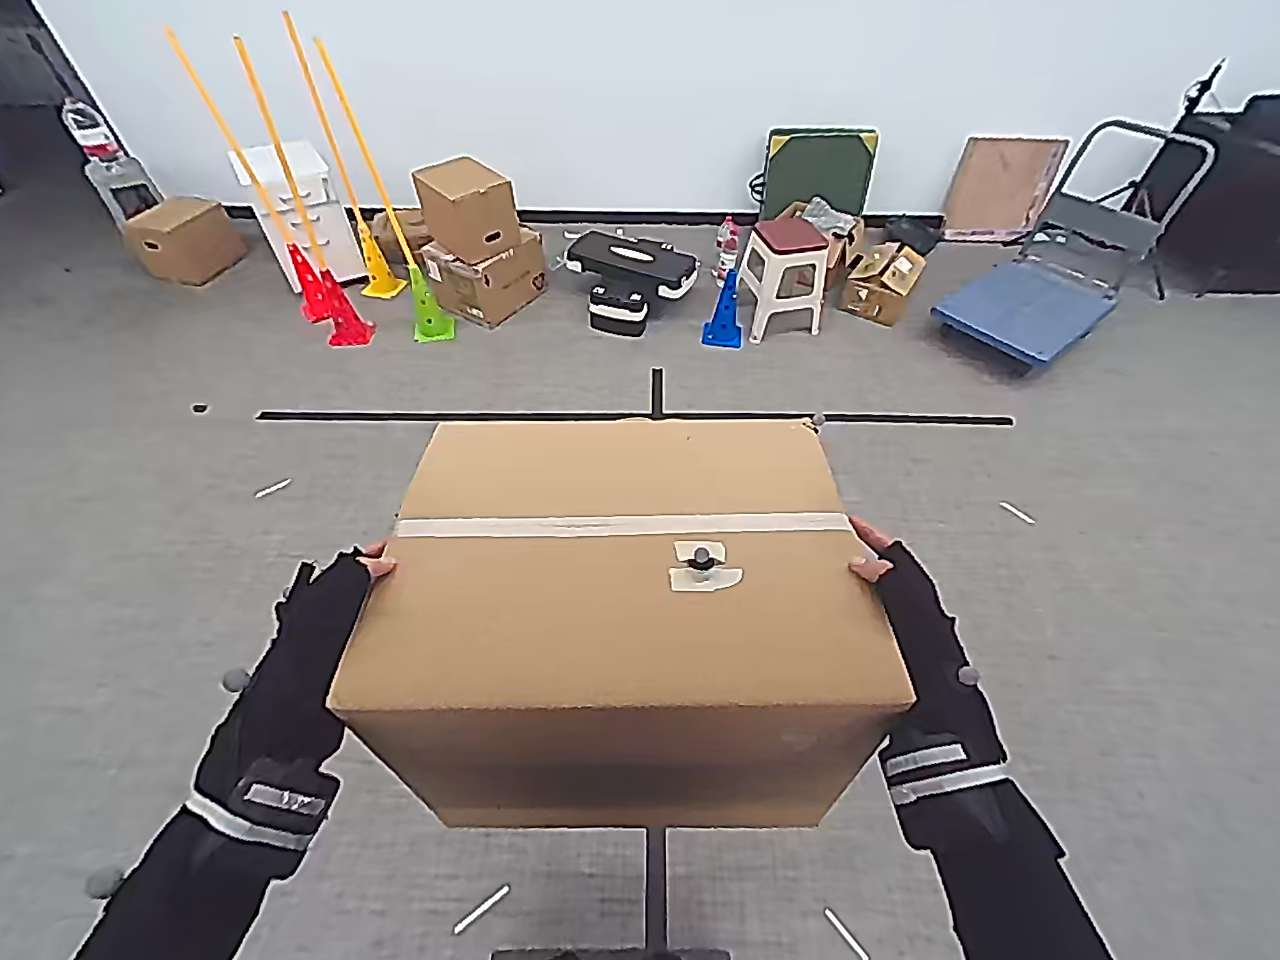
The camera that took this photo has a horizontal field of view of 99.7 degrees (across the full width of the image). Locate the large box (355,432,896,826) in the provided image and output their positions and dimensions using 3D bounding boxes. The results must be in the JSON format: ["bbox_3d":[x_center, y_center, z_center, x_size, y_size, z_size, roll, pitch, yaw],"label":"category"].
[{"bbox_3d":[-0.012,0.162,0.599,0.408,0.320,0.320,0,44,0],"label":"large box"}]

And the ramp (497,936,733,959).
[{"bbox_3d":[-0.051,1.380,0.875,0.509,0.206,0.991,0,50,-2],"label":"ramp"}]
